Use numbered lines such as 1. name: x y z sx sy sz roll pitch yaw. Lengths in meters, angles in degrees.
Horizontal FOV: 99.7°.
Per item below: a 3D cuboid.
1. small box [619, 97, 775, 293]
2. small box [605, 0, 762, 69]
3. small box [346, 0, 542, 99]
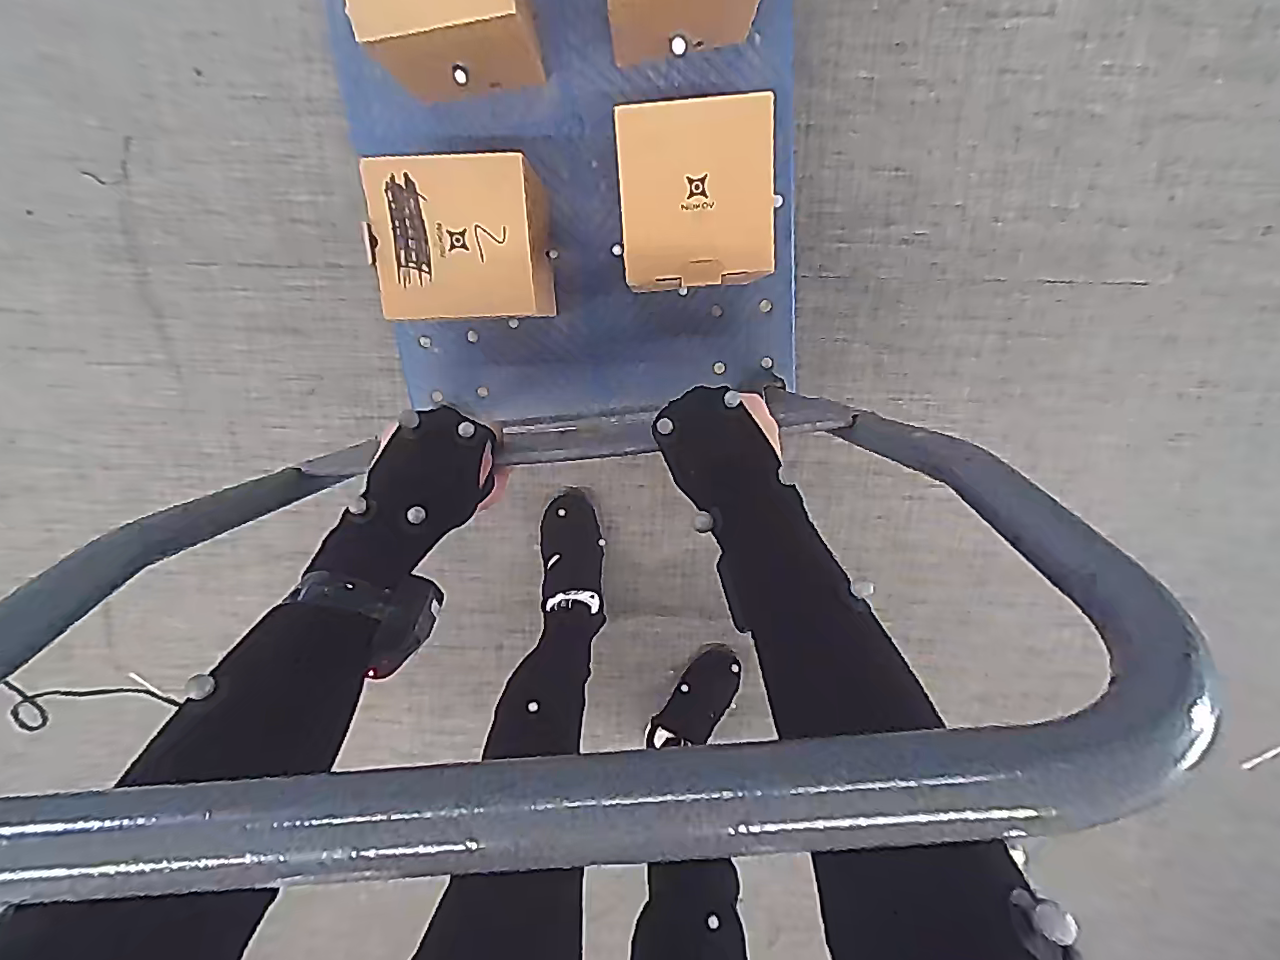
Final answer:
1. small box: 0.062 -0.327 0.654 0.168 0.176 0.179 -4 107 2
2. small box: 0.037 -0.584 0.574 0.168 0.176 0.179 -8 108 4
3. small box: -0.212 -0.545 0.588 0.168 0.176 0.179 -8 107 2
